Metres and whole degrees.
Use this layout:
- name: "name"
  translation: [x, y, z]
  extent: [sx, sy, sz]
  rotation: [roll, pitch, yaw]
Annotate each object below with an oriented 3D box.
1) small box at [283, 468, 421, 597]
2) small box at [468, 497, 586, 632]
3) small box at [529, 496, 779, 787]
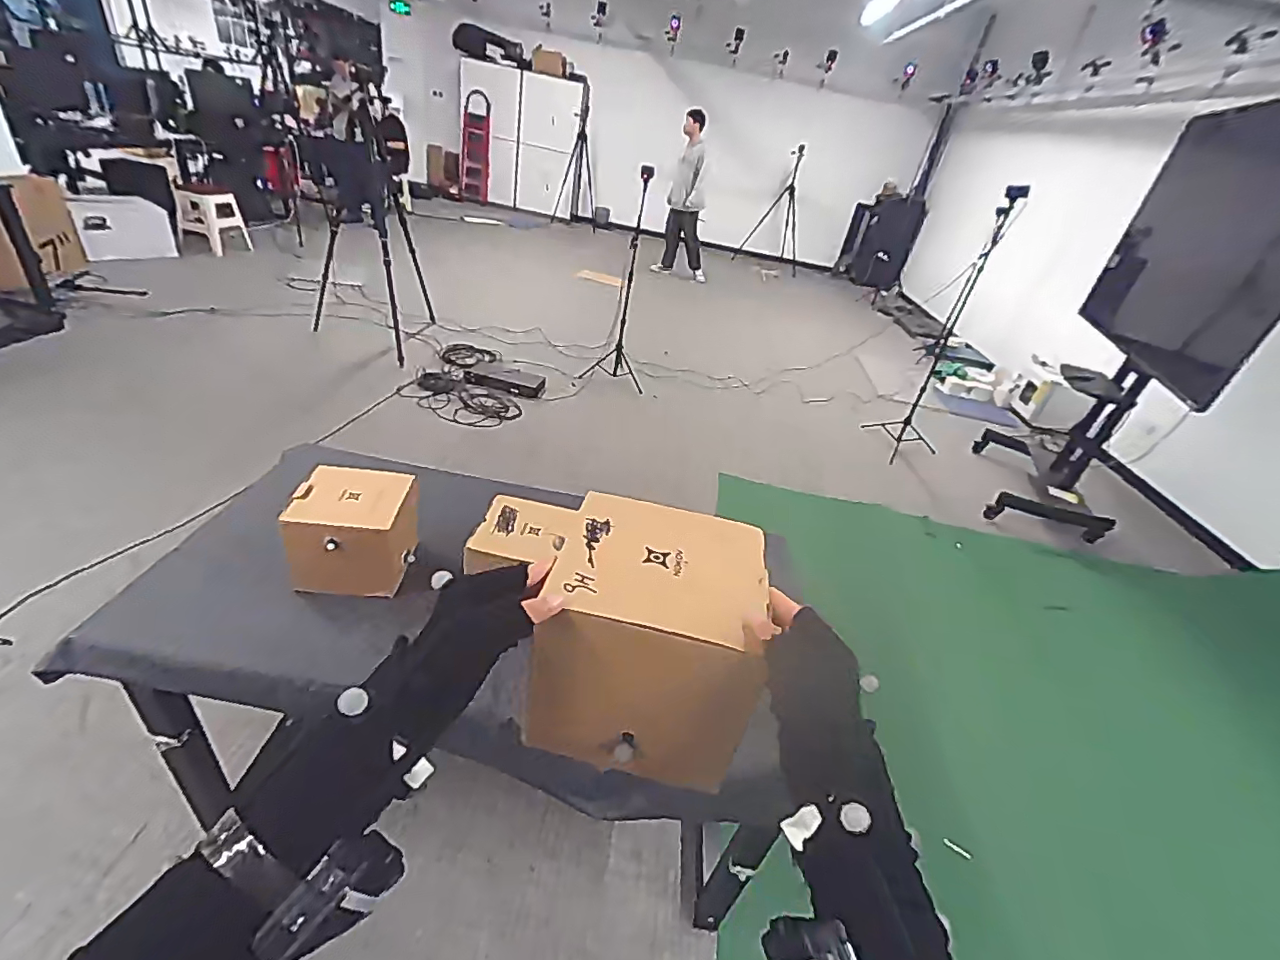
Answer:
- name: "small box"
  translation: [-0.518, 0.098, 1.000]
  extent: [0.179, 0.176, 0.168]
  rotation: [7, 34, -10]
- name: "small box"
  translation: [-0.207, 0.159, 1.004]
  extent: [0.179, 0.176, 0.168]
  rotation: [13, 33, 0]
- name: "small box"
  translation: [0.012, 0.142, 0.491]
  extent: [0.179, 0.176, 0.168]
  rotation: [14, 28, 3]
